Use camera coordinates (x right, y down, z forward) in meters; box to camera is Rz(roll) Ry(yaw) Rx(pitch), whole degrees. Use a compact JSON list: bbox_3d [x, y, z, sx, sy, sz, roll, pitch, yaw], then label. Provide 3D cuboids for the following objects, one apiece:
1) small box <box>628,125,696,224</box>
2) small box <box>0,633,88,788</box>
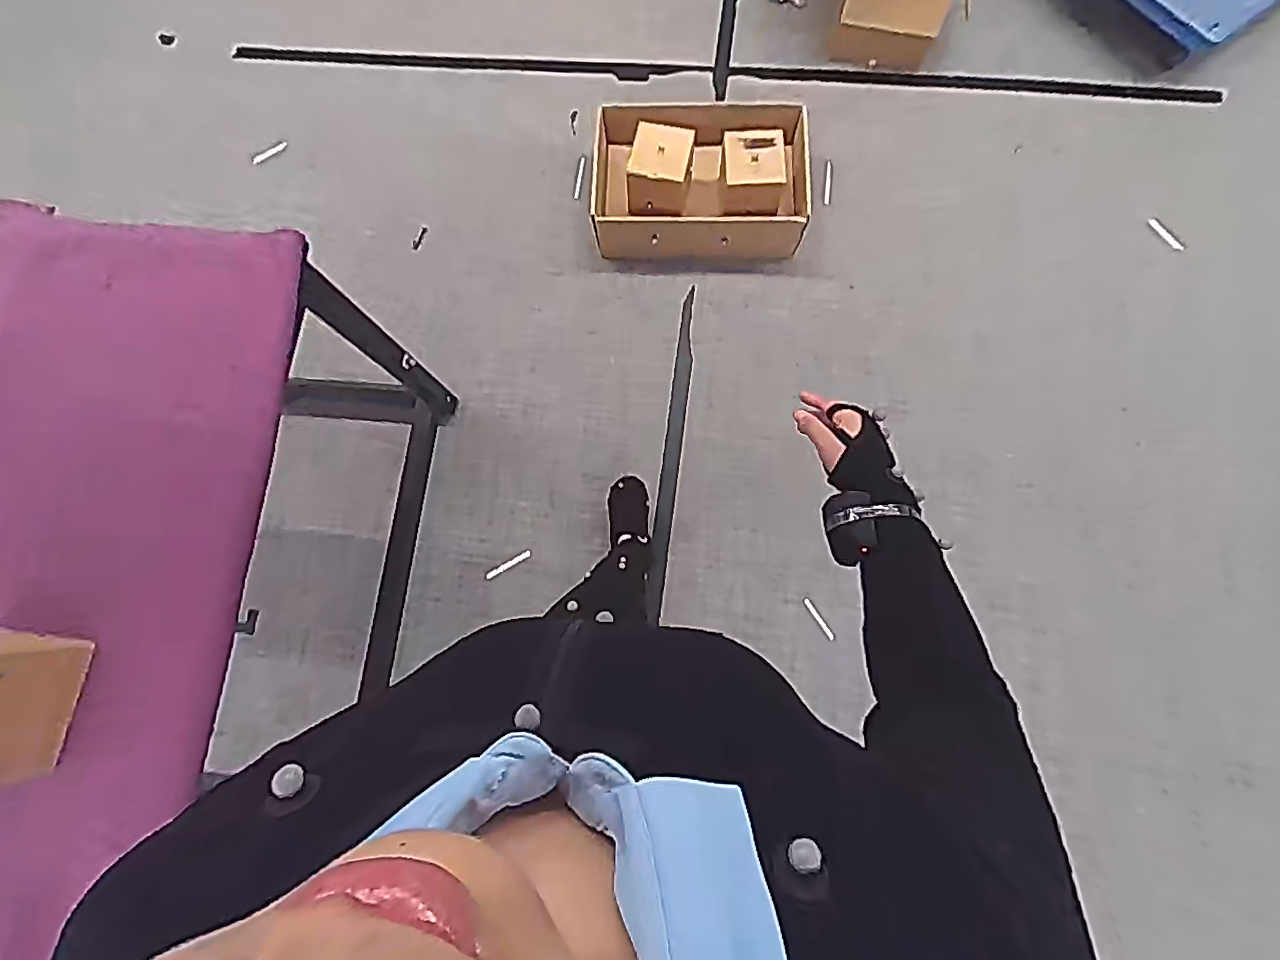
[{"bbox_3d":[0.063,-0.905,1.610,0.168,0.176,0.179,12,78,4],"label":"small box"},{"bbox_3d":[-0.884,0.297,0.694,0.168,0.176,0.179,7,78,5],"label":"small box"}]
